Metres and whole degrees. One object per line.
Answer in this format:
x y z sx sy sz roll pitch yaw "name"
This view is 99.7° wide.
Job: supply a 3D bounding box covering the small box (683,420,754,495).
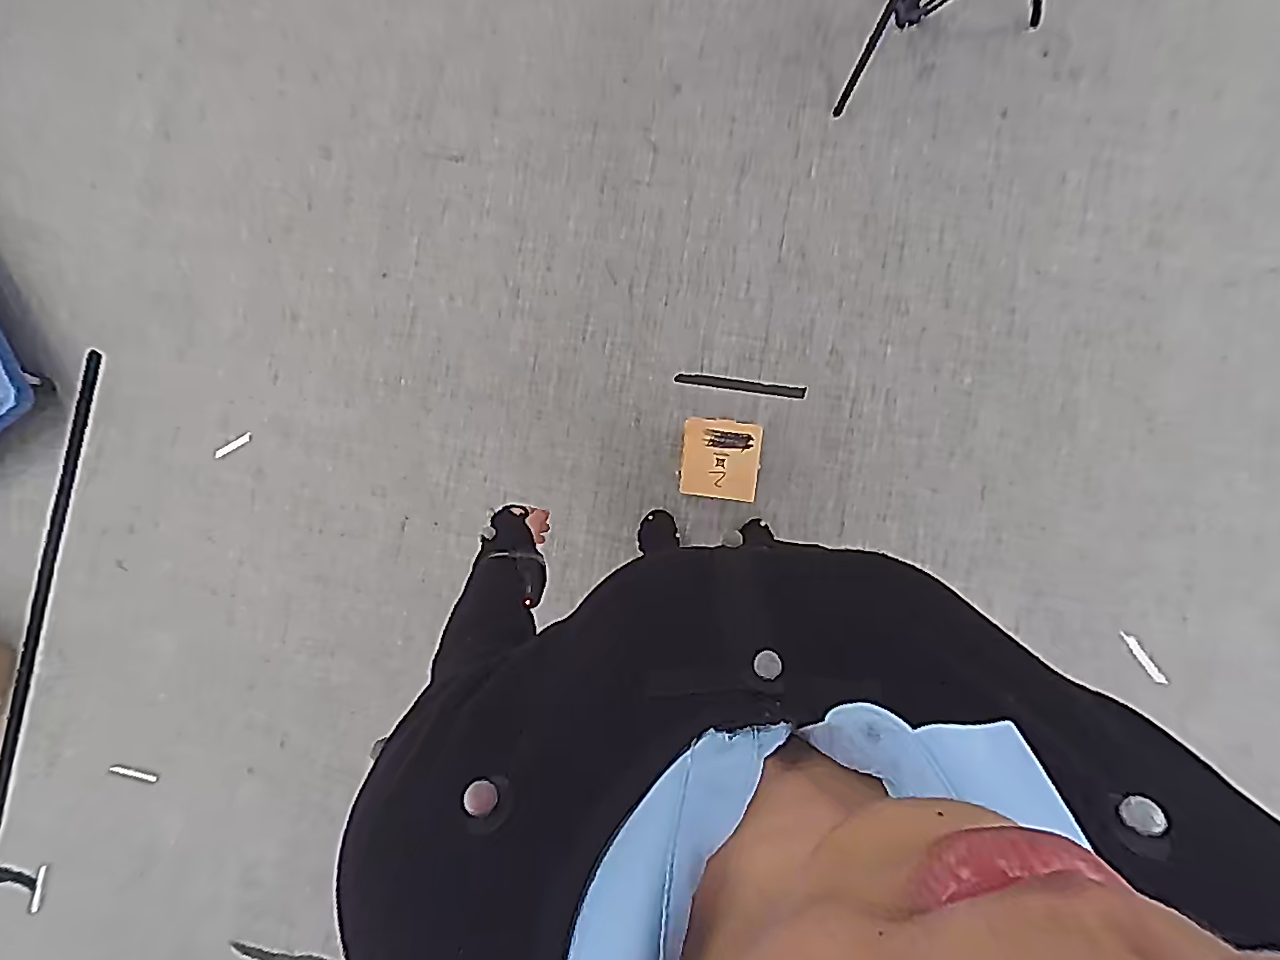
0.202 -0.054 1.428 0.168 0.176 0.179 4 88 5 "small box"
